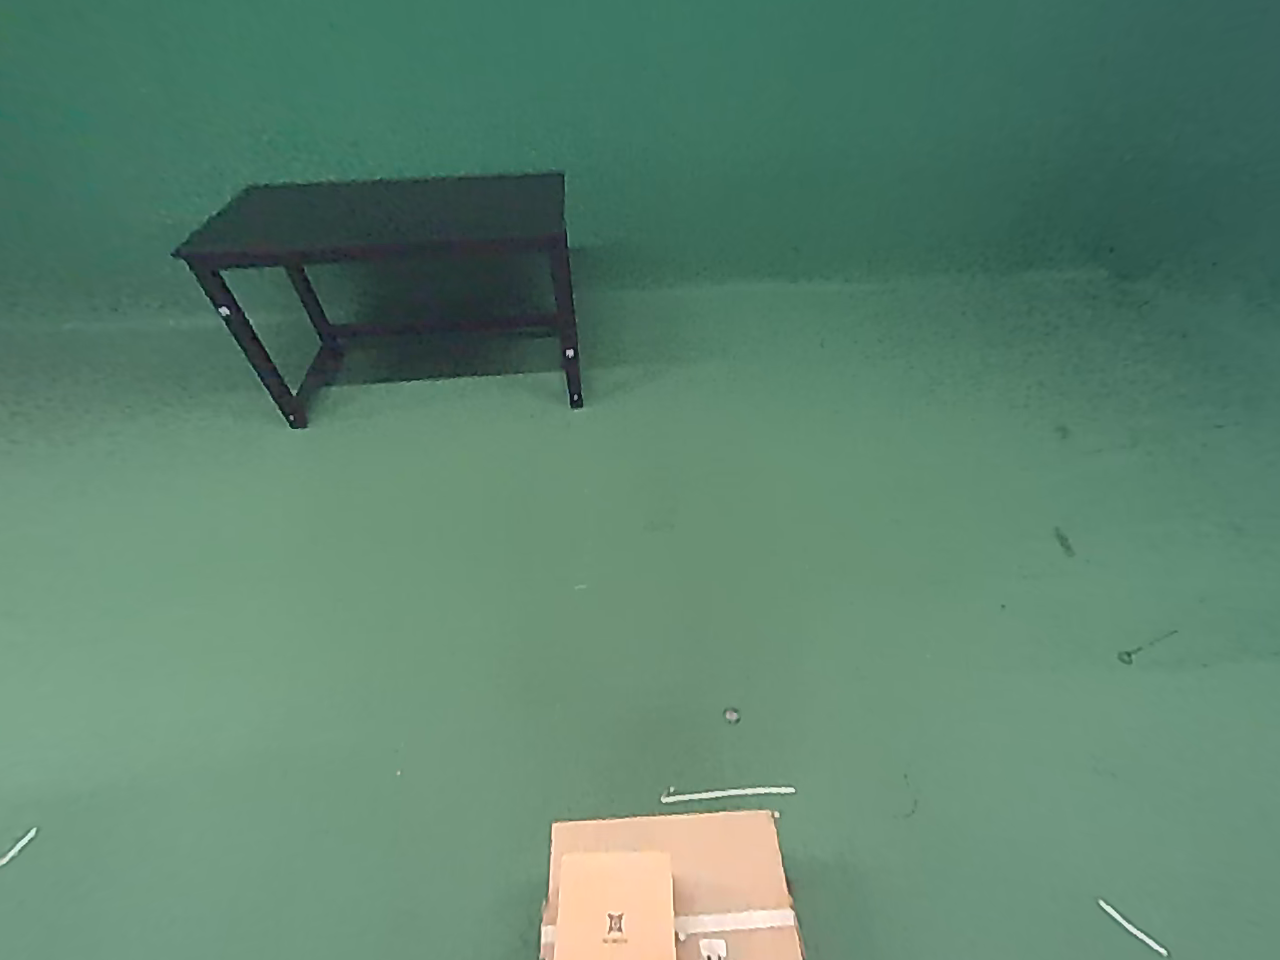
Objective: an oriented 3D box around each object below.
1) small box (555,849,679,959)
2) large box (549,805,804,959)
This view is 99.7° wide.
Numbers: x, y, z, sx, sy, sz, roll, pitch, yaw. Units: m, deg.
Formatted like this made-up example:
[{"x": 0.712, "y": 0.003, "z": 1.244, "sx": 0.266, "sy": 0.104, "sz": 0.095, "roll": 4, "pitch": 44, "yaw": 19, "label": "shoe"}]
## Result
[{"x": -0.031, "y": 0.660, "z": 0.789, "sx": 0.168, "sy": 0.176, "sz": 0.179, "roll": -1, "pitch": 47, "yaw": 0, "label": "small box"}, {"x": 0.054, "y": 0.817, "z": 0.975, "sx": 0.408, "sy": 0.320, "sz": 0.320, "roll": -3, "pitch": 47, "yaw": -2, "label": "large box"}]
